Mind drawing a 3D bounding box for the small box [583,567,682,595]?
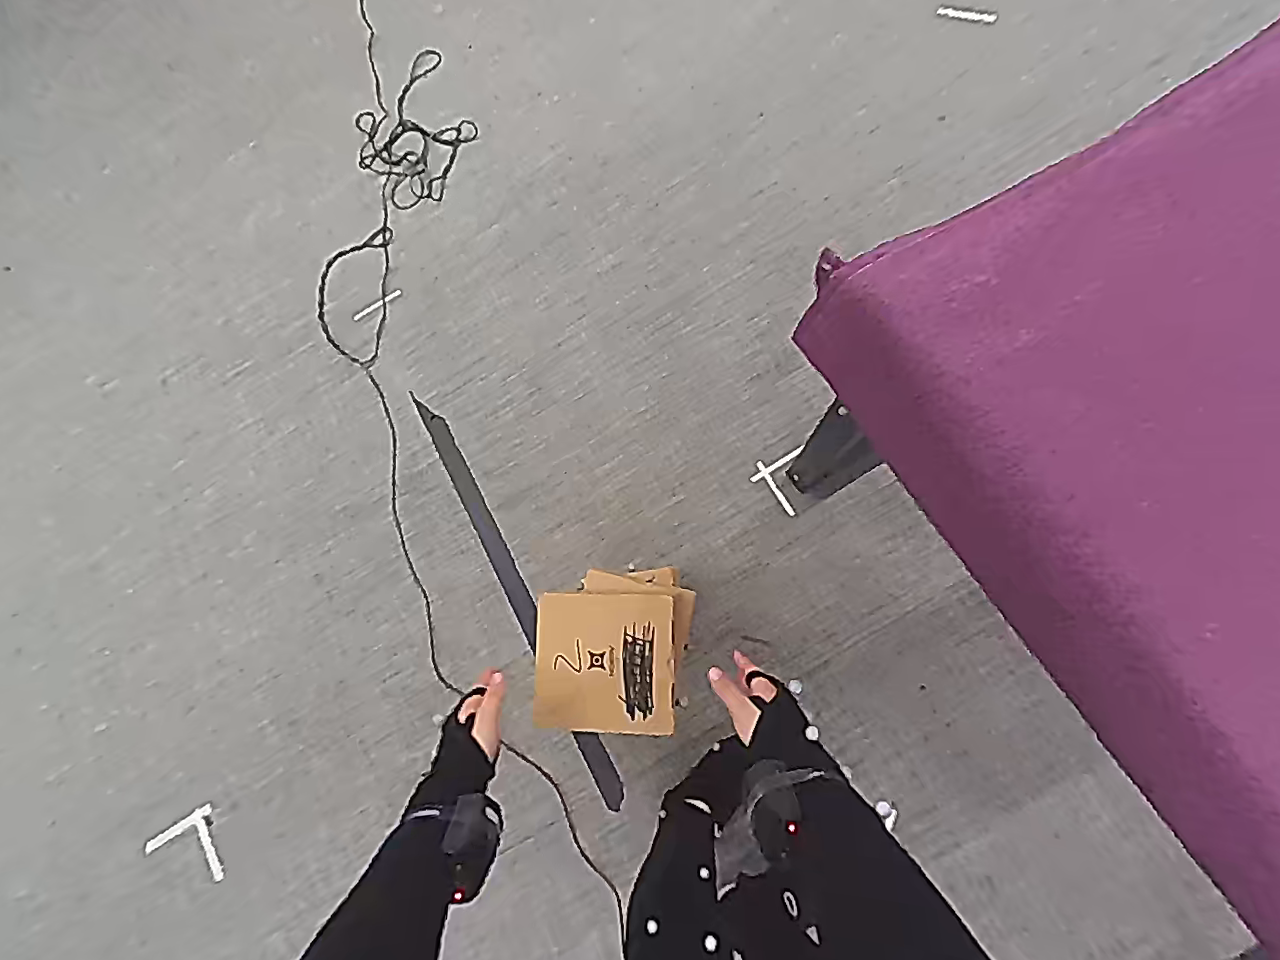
[{"bbox_3d":[-0.003,0.268,1.070,0.179,0.176,0.168,-9,79,5],"label":"small box"}]

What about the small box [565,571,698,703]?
[{"bbox_3d":[-0.004,0.251,0.904,0.179,0.176,0.168,12,81,9],"label":"small box"}]
